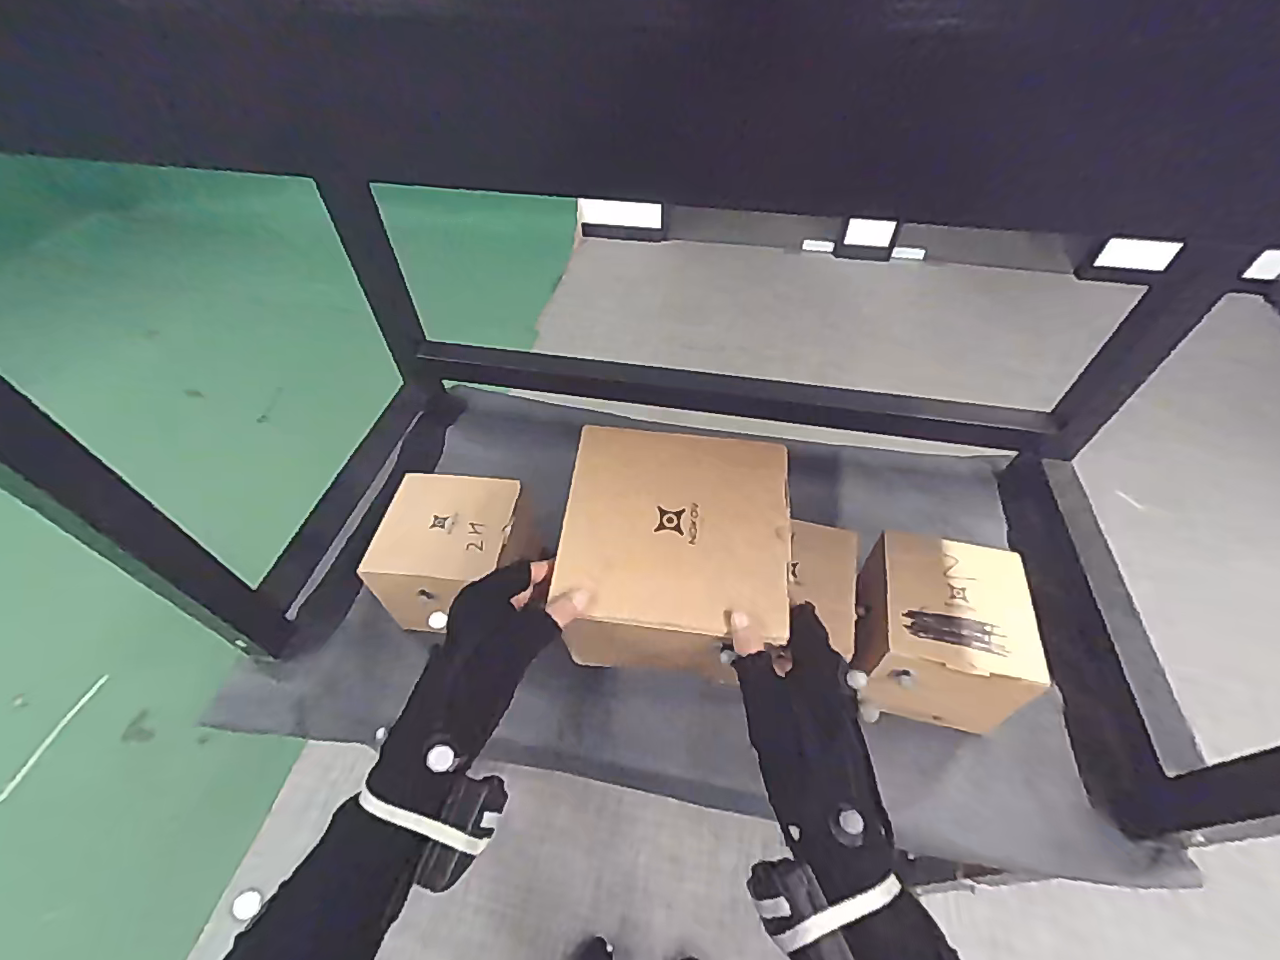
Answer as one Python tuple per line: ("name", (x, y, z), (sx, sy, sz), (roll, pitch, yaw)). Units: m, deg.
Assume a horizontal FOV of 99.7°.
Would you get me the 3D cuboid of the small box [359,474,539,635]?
("small box", (-0.259, 0.111, 0.784), (0.179, 0.176, 0.168), (5, 51, 4))
